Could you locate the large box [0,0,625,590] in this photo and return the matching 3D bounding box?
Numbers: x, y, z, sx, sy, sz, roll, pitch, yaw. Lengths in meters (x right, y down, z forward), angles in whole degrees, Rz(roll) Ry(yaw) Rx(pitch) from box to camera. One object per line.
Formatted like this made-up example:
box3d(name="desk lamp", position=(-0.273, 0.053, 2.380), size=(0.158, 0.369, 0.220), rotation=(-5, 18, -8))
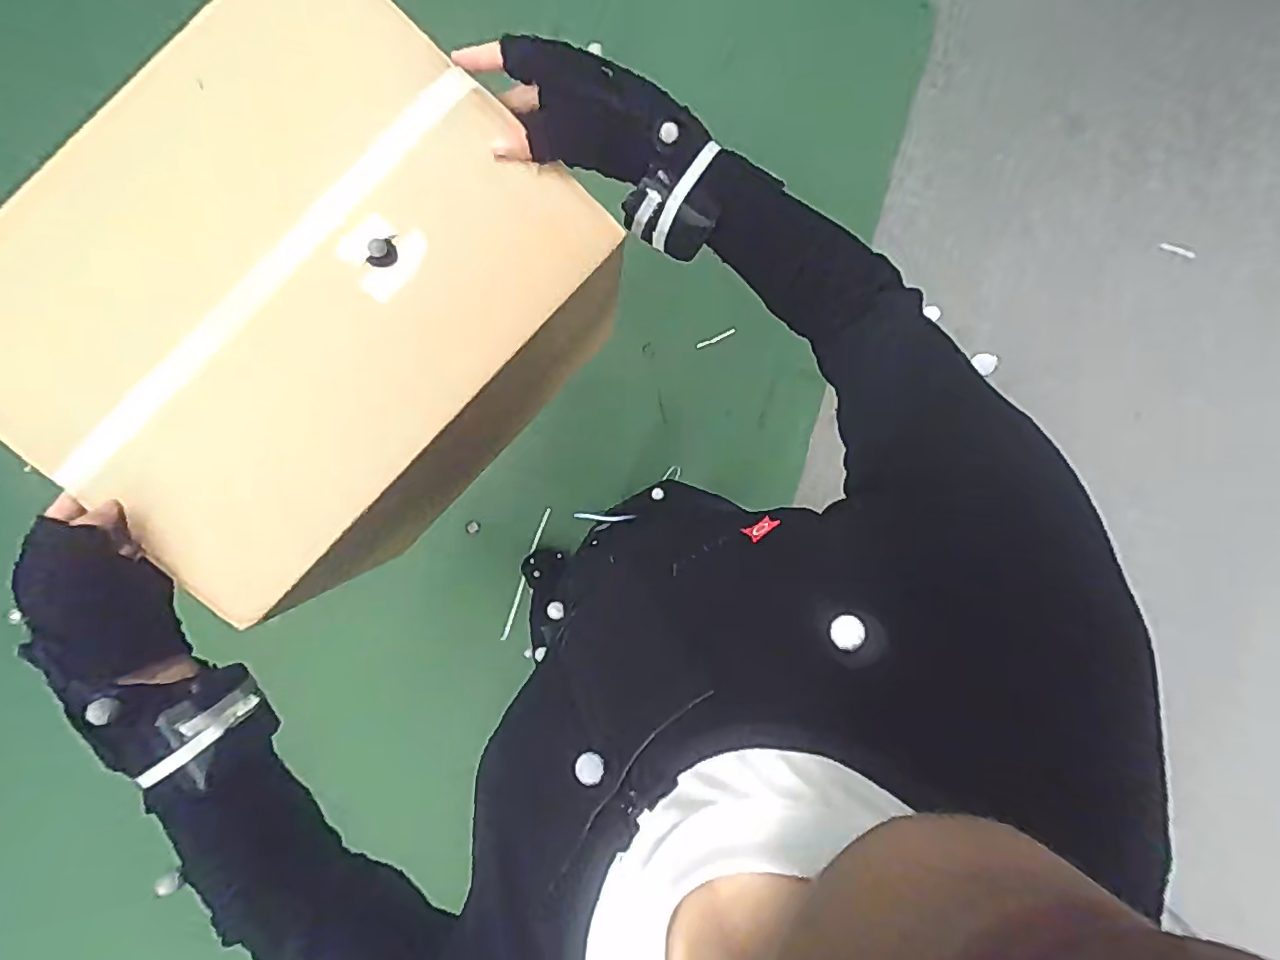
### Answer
box3d(name="large box", position=(-0.262, -0.164, 0.548), size=(0.320, 0.320, 0.408), rotation=(44, 88, -5))
